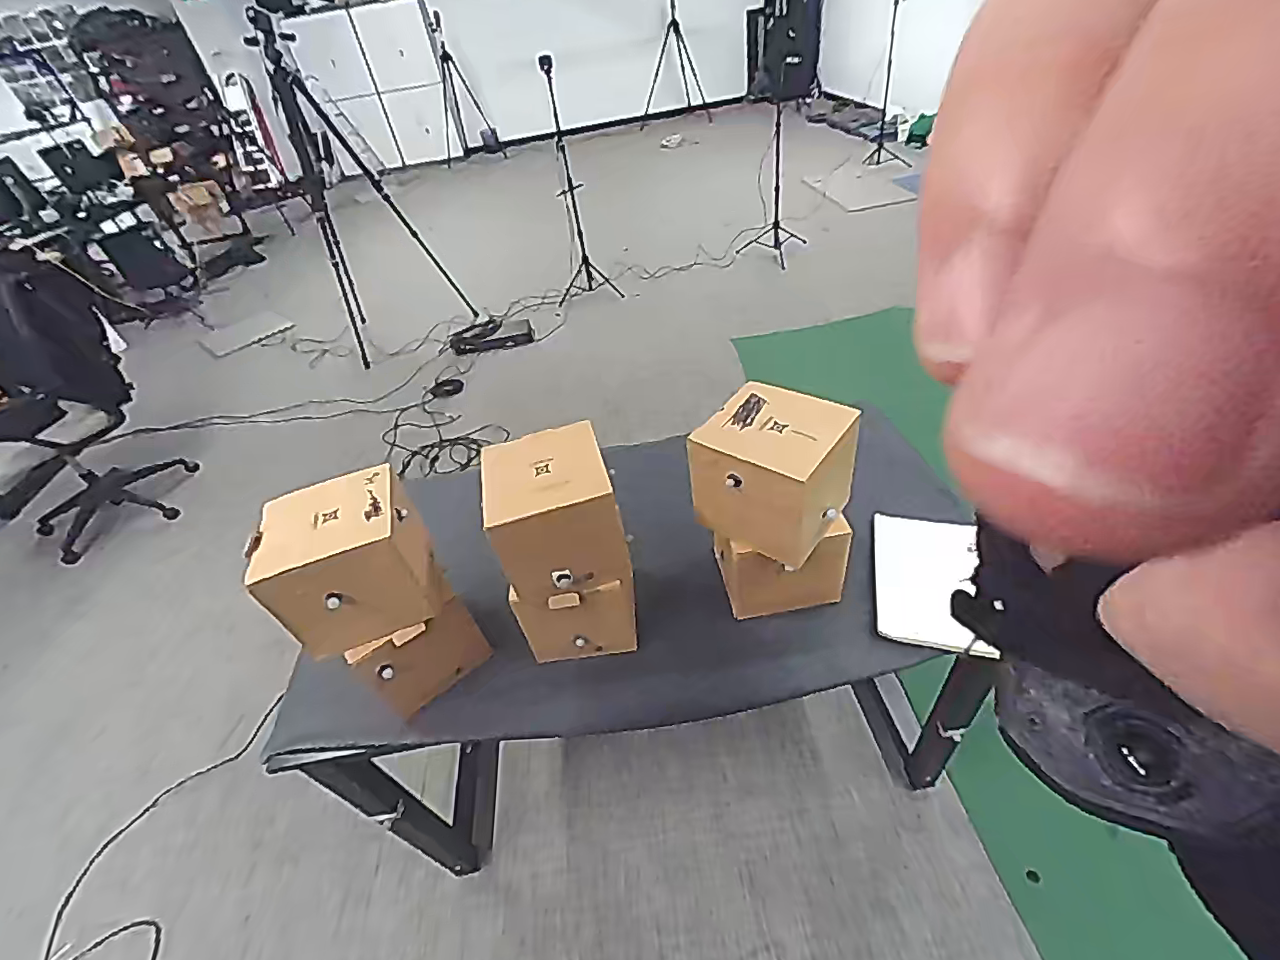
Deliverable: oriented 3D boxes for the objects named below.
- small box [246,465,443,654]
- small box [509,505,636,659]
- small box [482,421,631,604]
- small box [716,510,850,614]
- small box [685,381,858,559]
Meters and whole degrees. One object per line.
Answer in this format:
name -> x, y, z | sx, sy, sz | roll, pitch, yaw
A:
small box -> -0.402, 0.113, 0.765 | 0.179, 0.176, 0.168 | -21, 42, -9
small box -> -0.101, 0.166, 0.887 | 0.168, 0.176, 0.179 | -9, 41, 4
small box -> -0.121, 0.046, 0.780 | 0.168, 0.176, 0.179 | -17, 41, -5
small box -> 0.223, 0.097, 0.893 | 0.179, 0.176, 0.168 | -12, 41, 1
small box -> 0.187, -0.015, 0.779 | 0.179, 0.176, 0.168 | 24, 52, 34
